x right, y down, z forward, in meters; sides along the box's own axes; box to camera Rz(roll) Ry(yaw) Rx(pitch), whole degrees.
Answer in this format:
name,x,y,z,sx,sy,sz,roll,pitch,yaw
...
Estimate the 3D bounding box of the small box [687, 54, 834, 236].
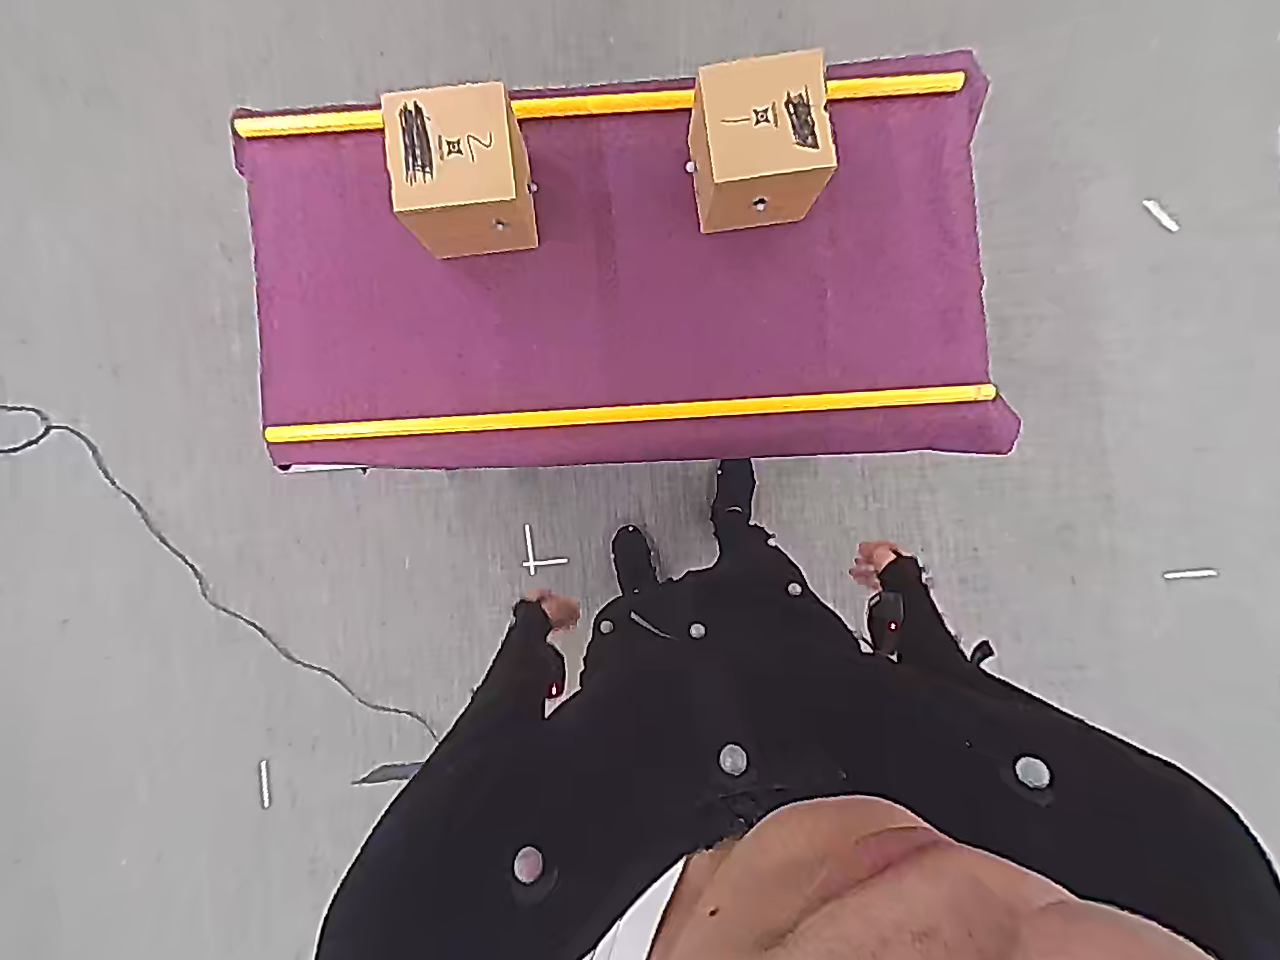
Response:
name,x,y,z,sx,sy,sz,roll,pitch,yaw
small box,0.173,-0.496,0.825,0.179,0.176,0.168,-8,91,1
